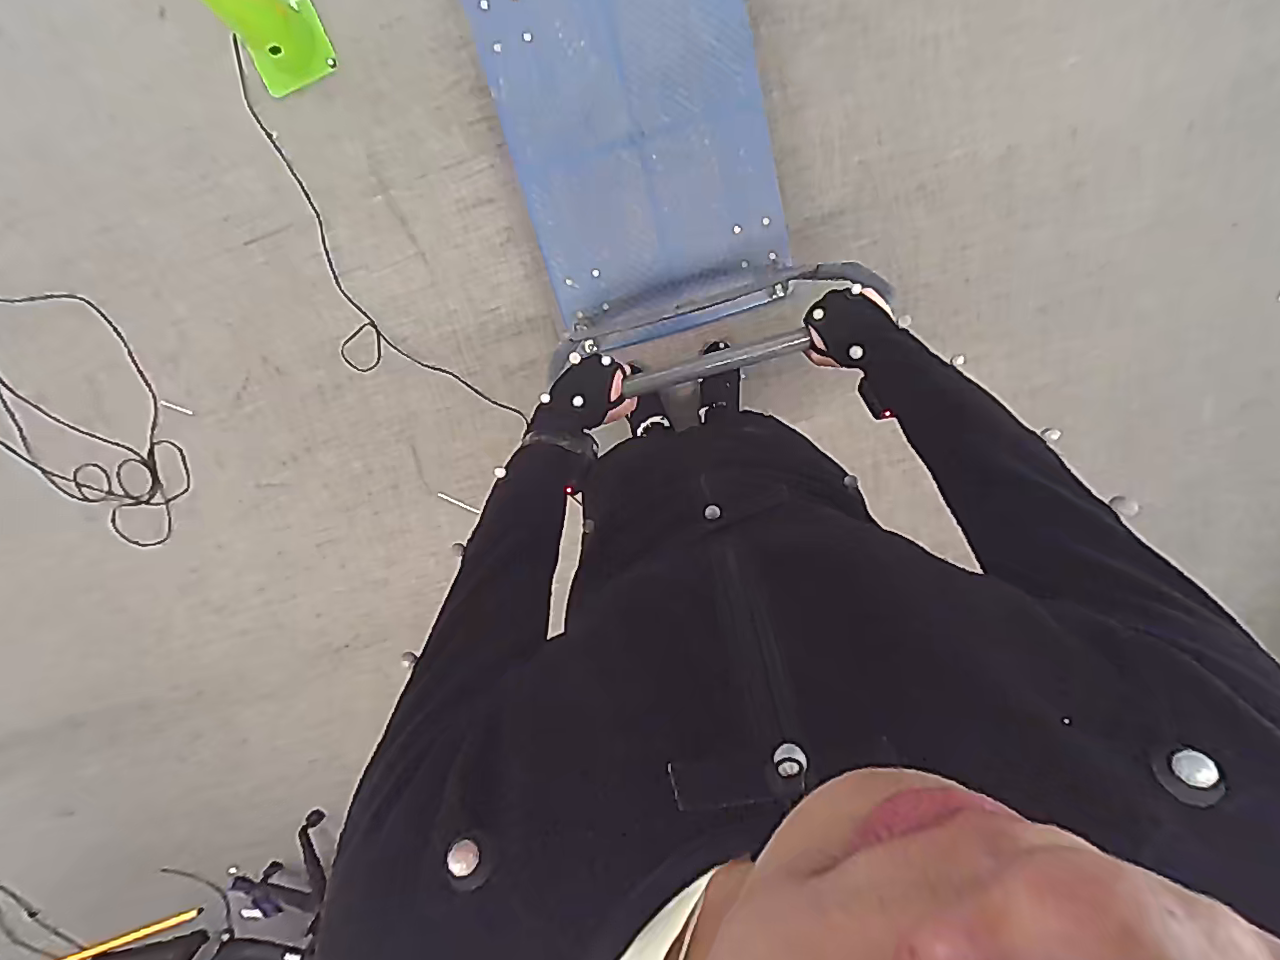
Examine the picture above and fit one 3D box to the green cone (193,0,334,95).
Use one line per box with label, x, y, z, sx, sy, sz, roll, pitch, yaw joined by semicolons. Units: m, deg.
green cone;-0.881;-1.029;1.157;0.202;0.368;0.200;-19;106;10
